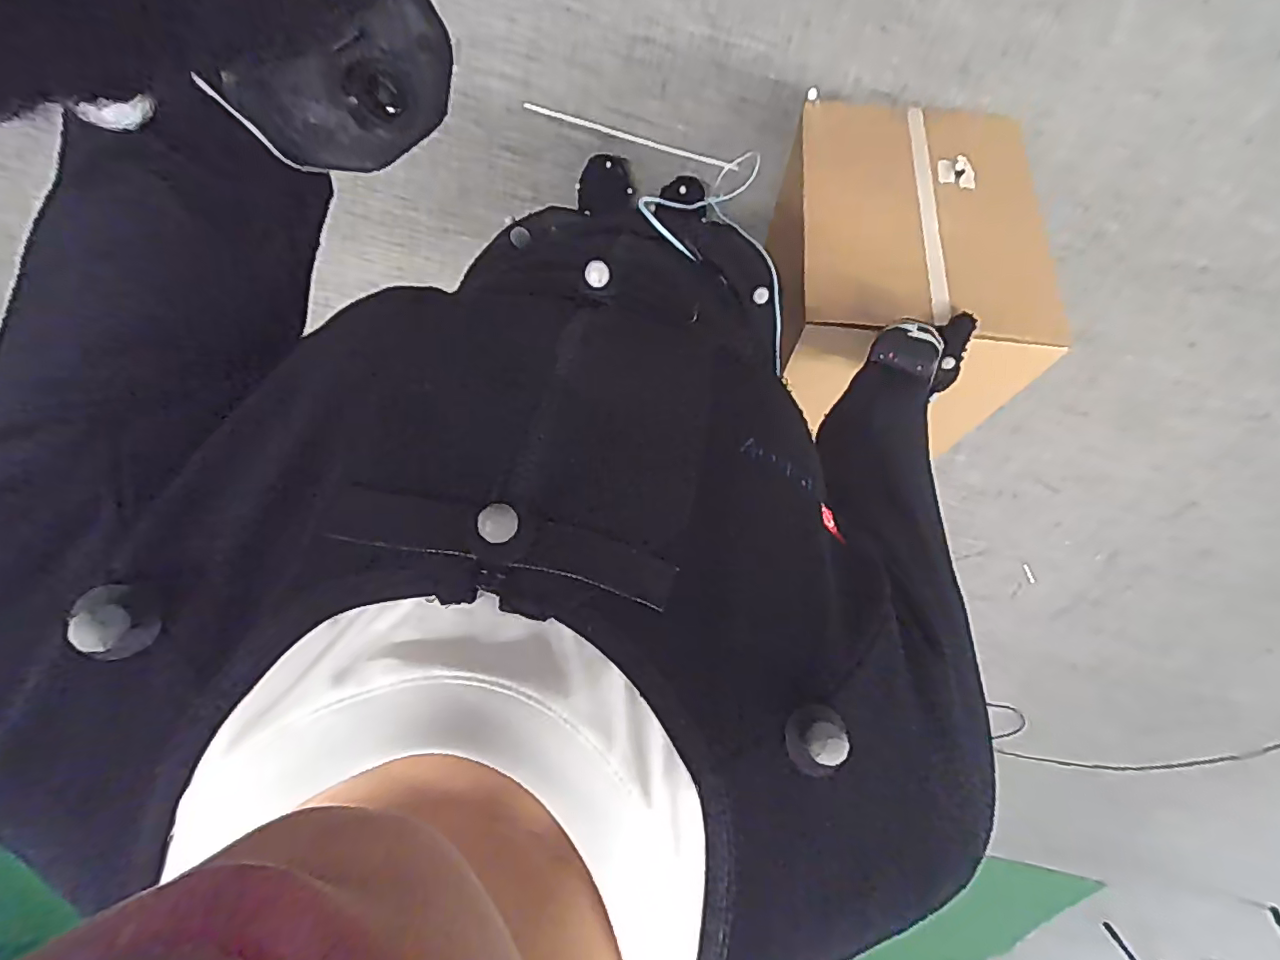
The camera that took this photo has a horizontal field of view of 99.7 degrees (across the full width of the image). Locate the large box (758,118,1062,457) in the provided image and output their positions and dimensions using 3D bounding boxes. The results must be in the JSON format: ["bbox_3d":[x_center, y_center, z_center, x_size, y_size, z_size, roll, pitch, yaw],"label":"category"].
[{"bbox_3d":[0.372,-0.284,0.862,0.320,0.408,0.320,7,157,1],"label":"large box"}]
